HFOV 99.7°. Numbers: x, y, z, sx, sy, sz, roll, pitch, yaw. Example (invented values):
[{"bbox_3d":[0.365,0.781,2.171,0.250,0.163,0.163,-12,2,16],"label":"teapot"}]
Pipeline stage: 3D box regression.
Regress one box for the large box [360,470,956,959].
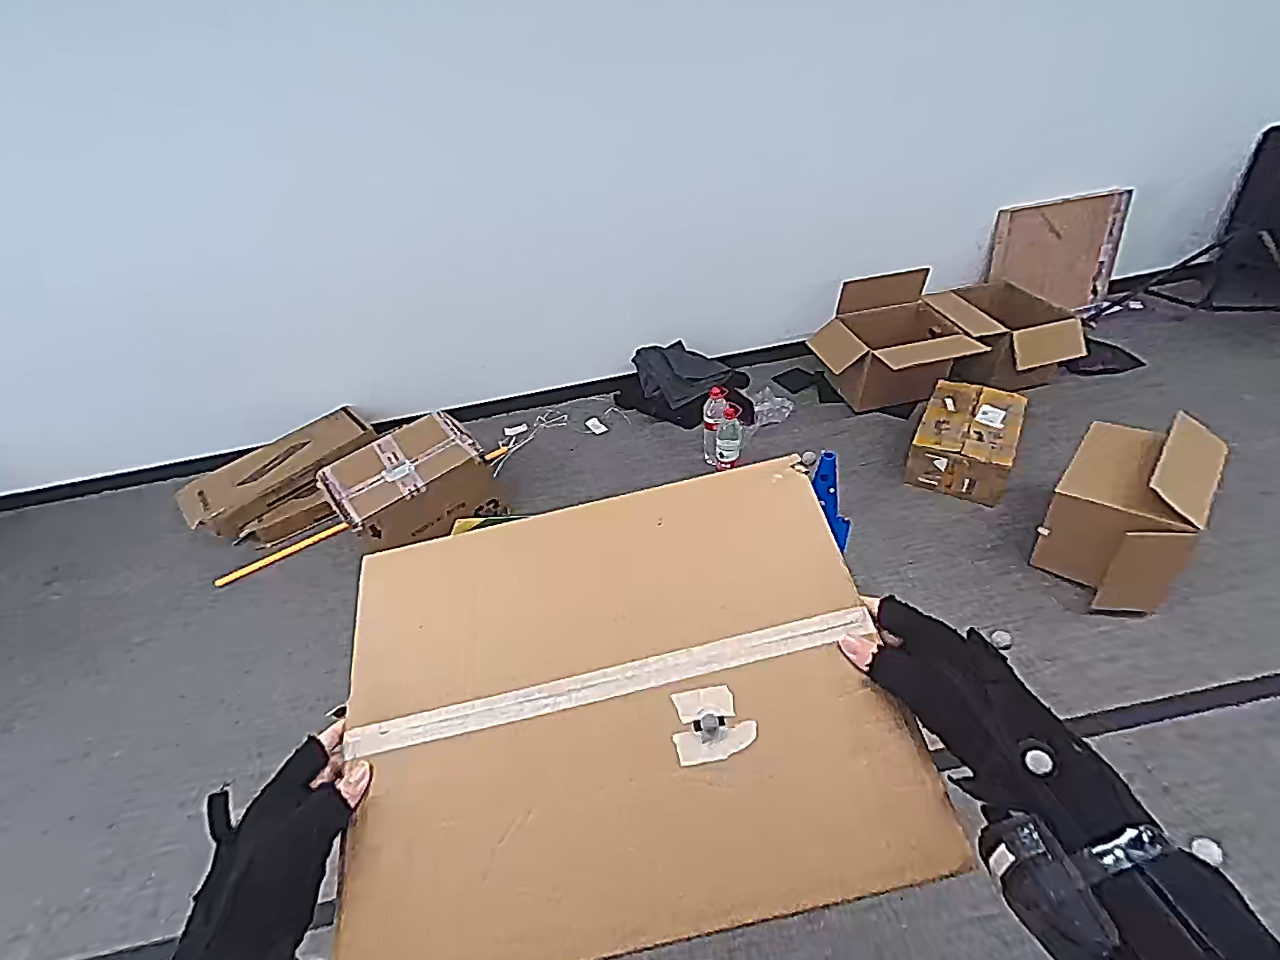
[{"bbox_3d":[-0.002,0.240,0.547,0.408,0.320,0.320,-13,59,-1],"label":"large box"}]
